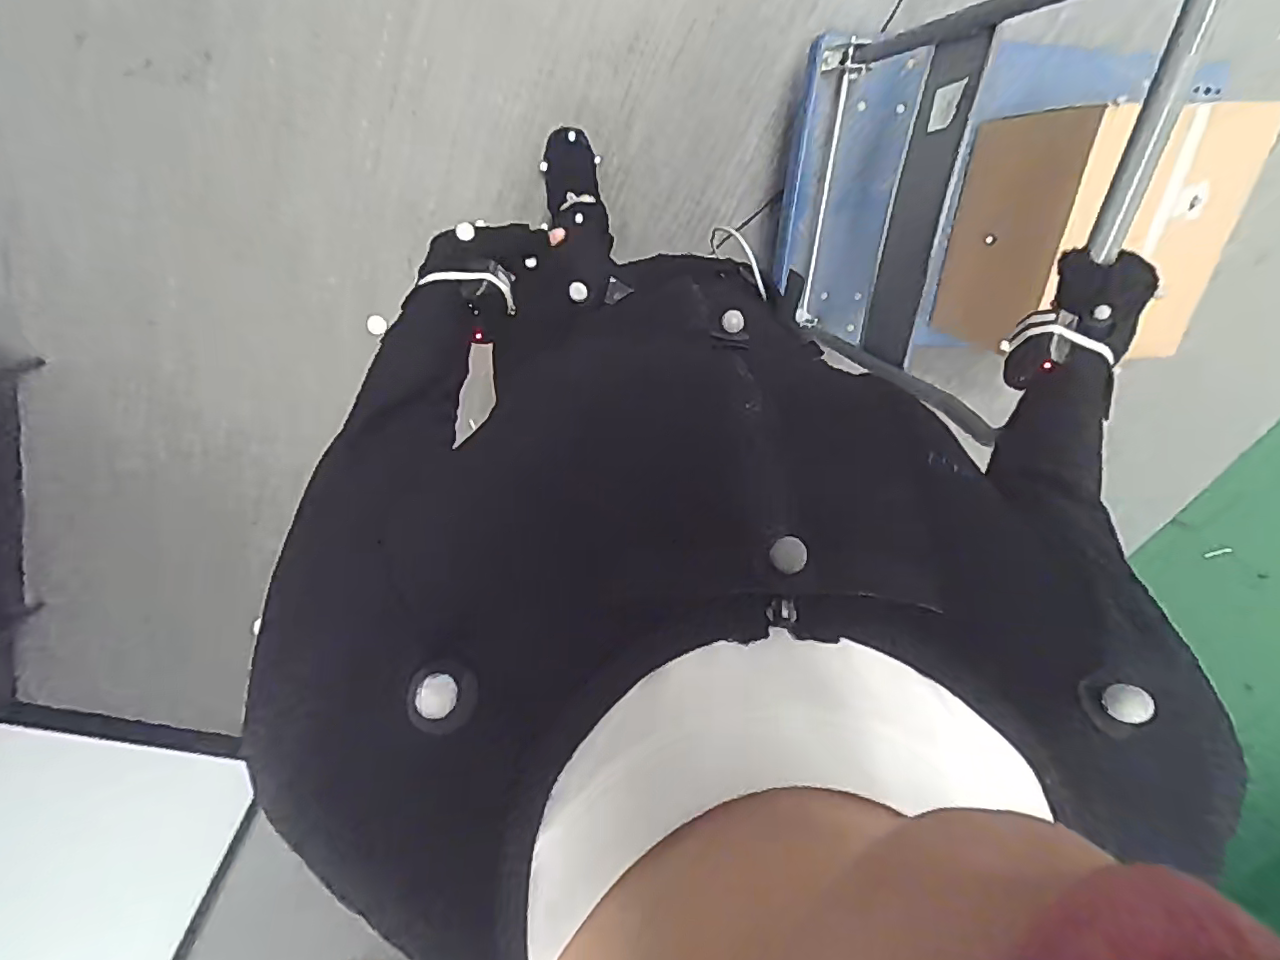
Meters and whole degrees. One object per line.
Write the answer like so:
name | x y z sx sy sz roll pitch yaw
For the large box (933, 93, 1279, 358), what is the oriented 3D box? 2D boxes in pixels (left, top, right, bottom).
large box | 0.834 -0.480 1.050 0.320 0.320 0.408 -5 119 -5
